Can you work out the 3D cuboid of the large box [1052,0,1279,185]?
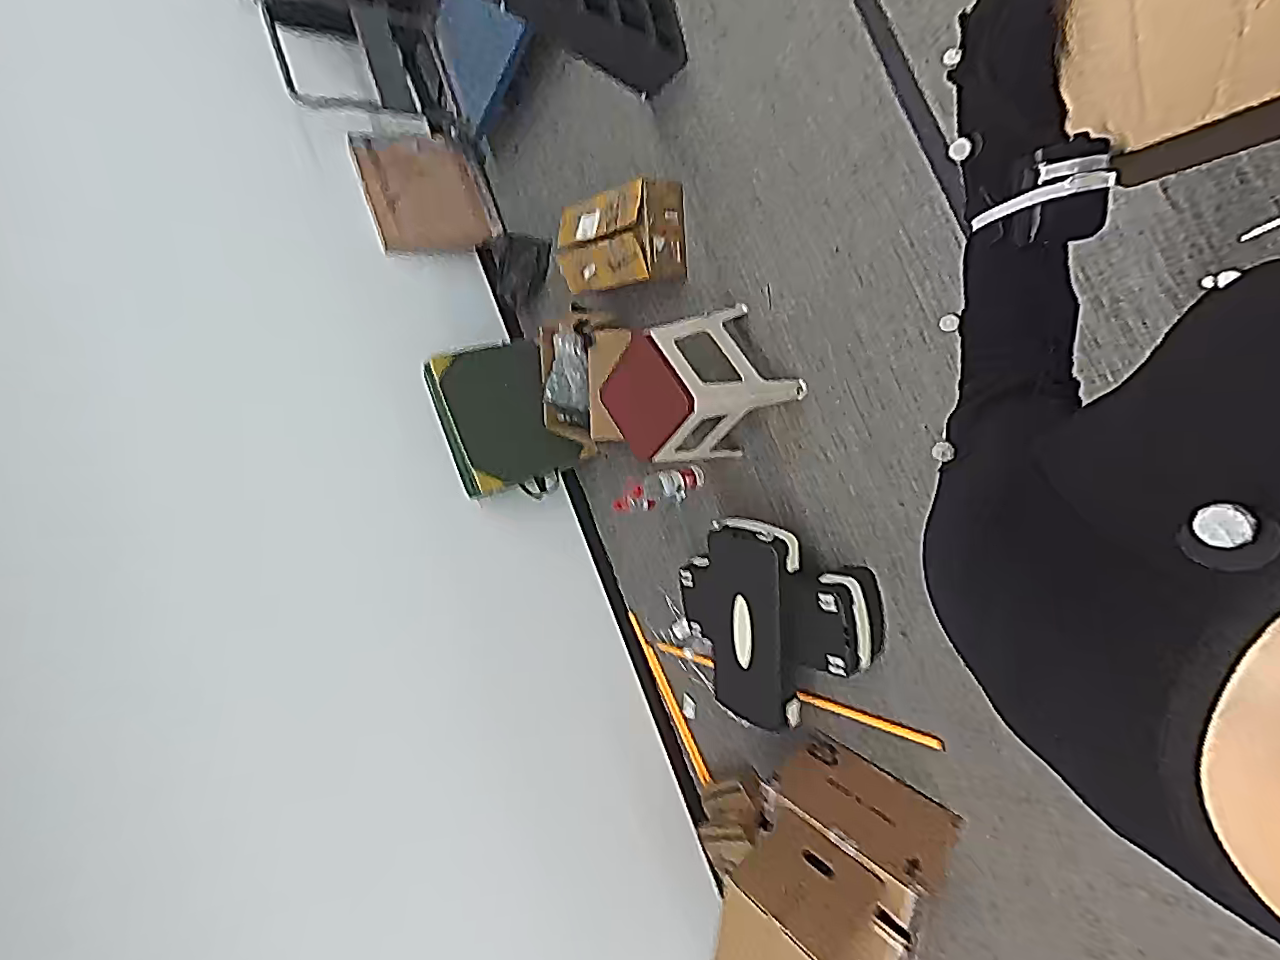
[{"bbox_3d":[0.519,-0.429,0.326,0.408,0.320,0.320,-2,106,49],"label":"large box"}]
